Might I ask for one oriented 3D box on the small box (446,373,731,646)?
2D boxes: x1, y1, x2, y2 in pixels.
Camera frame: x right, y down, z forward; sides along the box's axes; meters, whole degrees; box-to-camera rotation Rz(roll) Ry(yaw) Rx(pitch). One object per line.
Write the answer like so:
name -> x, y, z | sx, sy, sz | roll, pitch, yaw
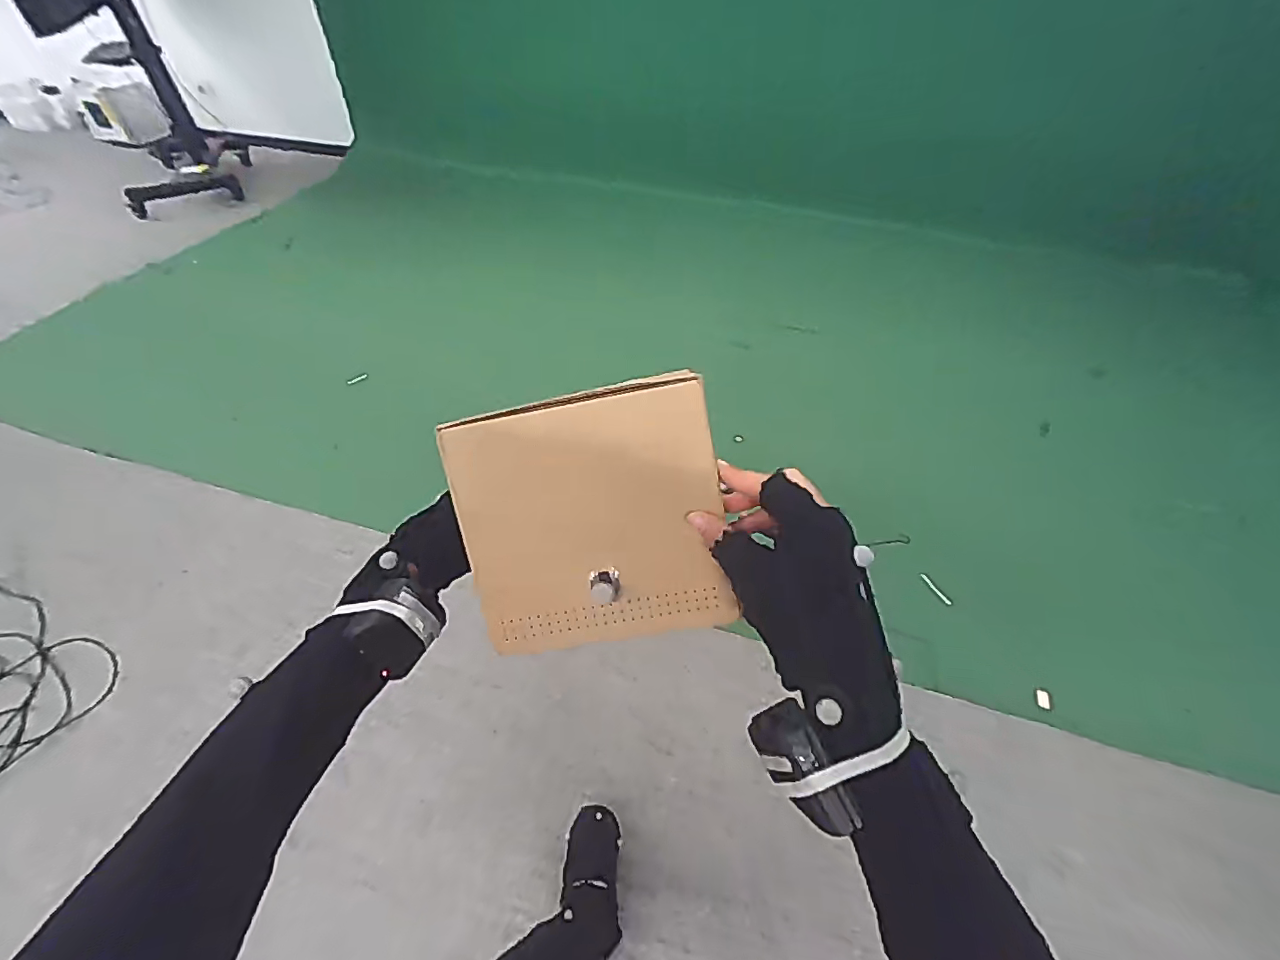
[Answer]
small box -> -0.025, 0.014, 0.444 | 0.179, 0.176, 0.168 | -11, 11, 6
